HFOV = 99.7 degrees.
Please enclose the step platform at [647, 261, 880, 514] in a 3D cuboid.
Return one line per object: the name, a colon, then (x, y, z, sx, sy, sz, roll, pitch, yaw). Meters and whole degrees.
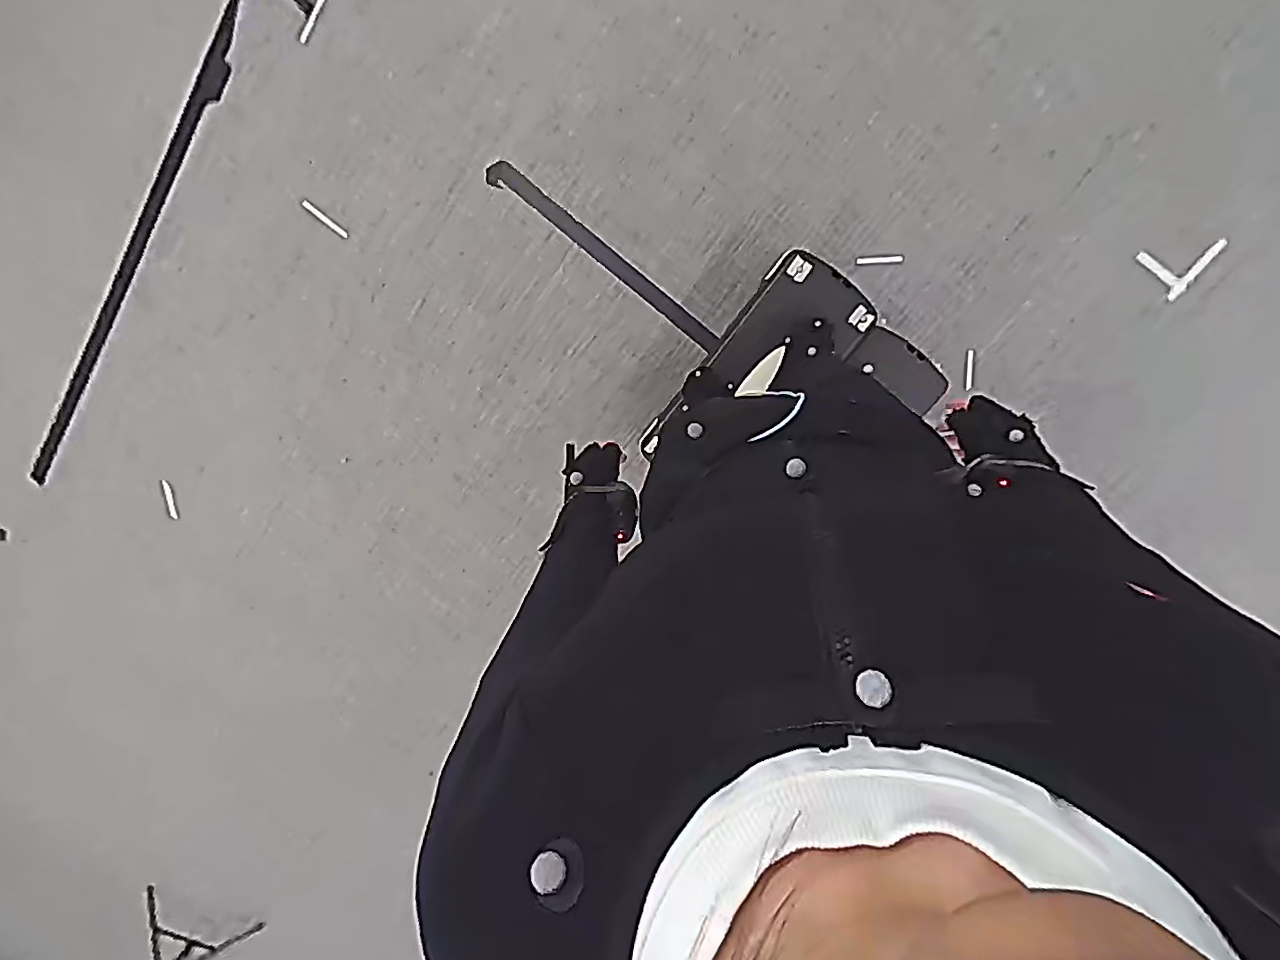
step platform: (0.315, -0.238, 1.475, 0.286, 0.204, 0.684, 36, 103, -5)
